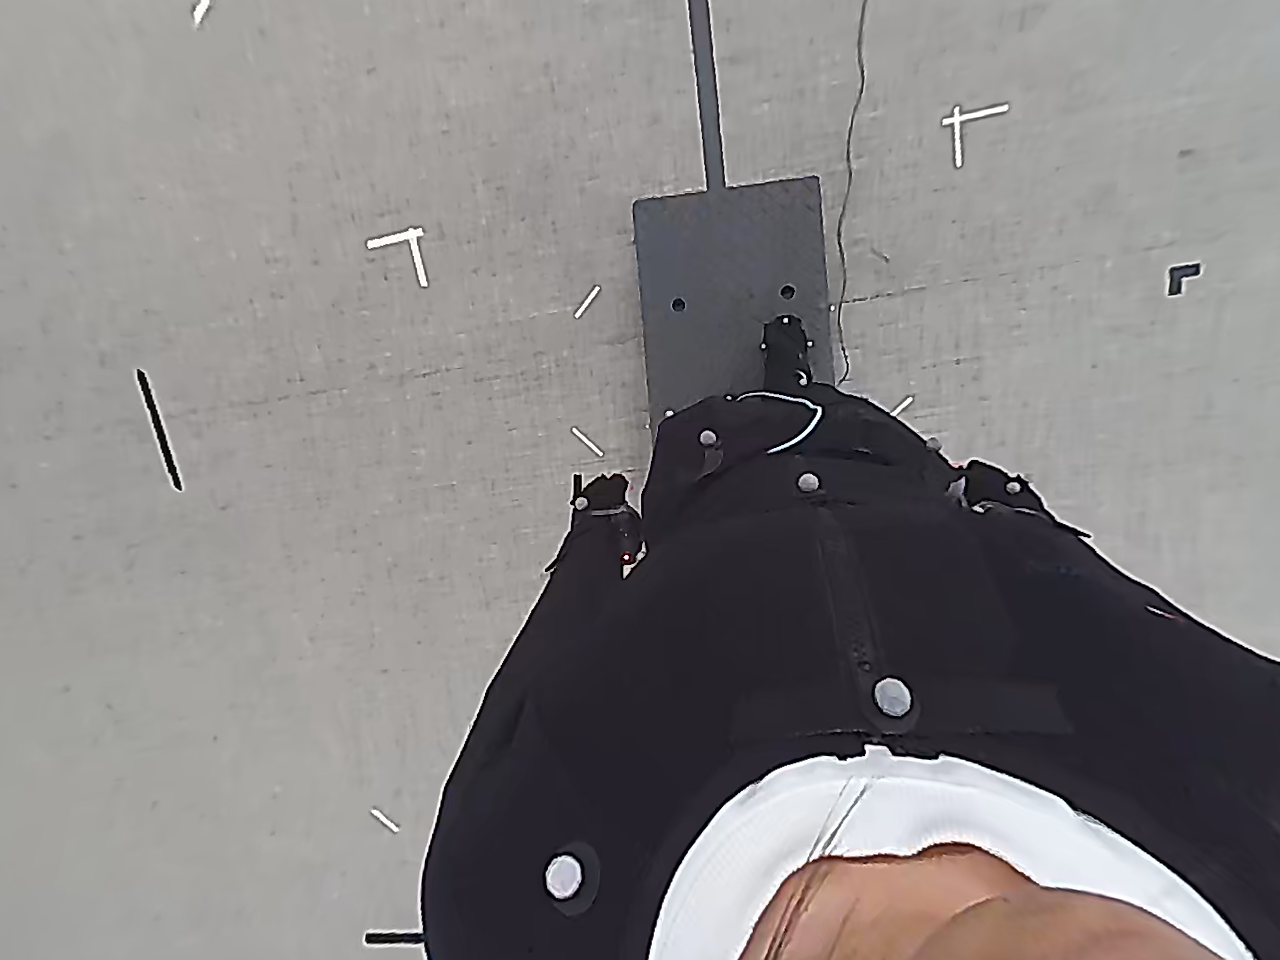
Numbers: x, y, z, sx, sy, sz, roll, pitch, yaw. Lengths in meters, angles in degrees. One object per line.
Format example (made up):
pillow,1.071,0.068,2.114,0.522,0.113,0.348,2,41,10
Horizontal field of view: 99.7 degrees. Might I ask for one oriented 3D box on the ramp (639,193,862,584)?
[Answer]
ramp,0.283,-0.236,1.447,0.509,0.206,0.991,-8,98,9
